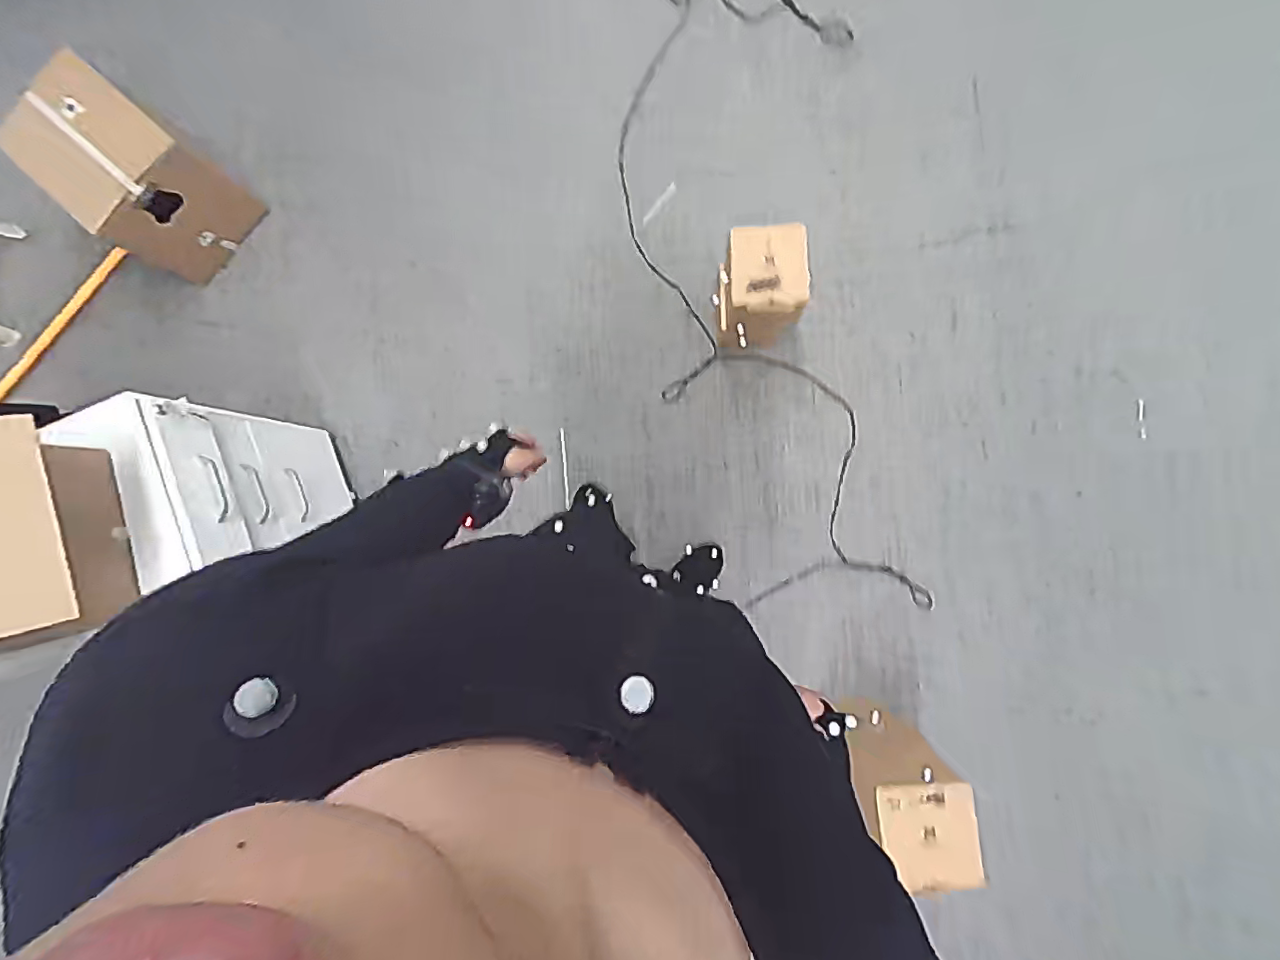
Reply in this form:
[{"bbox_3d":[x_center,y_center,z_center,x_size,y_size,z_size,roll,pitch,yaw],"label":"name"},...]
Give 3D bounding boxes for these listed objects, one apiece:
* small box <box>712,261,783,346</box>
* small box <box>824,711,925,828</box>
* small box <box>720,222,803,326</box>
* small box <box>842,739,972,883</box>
[{"bbox_3d":[0.275,-0.455,1.409,0.168,0.176,0.179,-2,87,4],"label":"small box"},{"bbox_3d":[0.517,0.632,1.192,0.168,0.176,0.179,-6,86,3],"label":"small box"},{"bbox_3d":[0.275,-0.463,1.244,0.168,0.176,0.179,-1,86,4],"label":"small box"},{"bbox_3d":[0.497,0.621,1.029,0.168,0.176,0.179,-6,88,3],"label":"small box"}]
